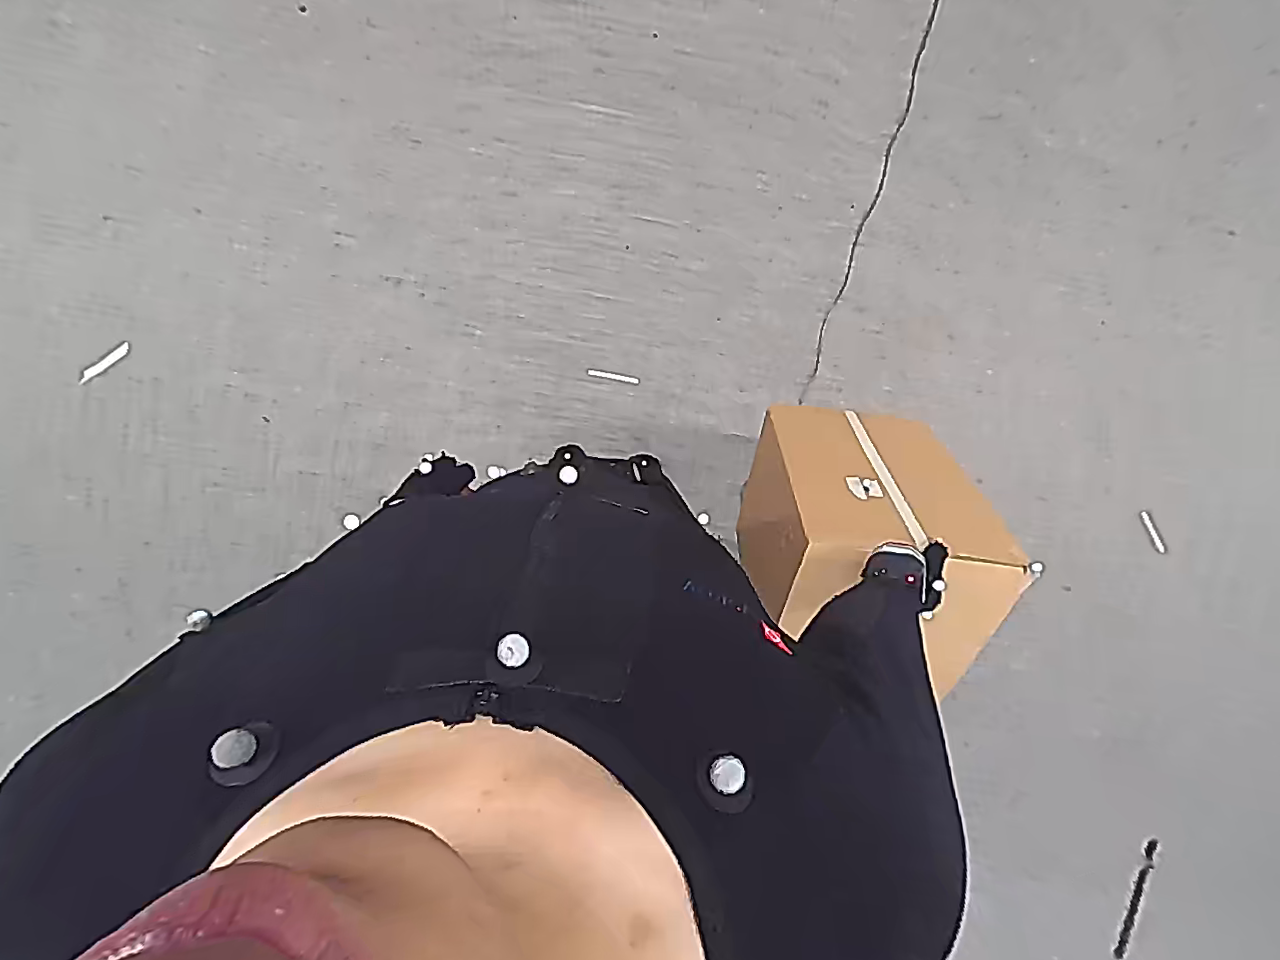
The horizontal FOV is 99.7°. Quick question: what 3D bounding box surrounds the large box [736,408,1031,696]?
[{"bbox_3d":[0.376,0.114,0.981,0.320,0.408,0.320,6,126,-1],"label":"large box"}]
